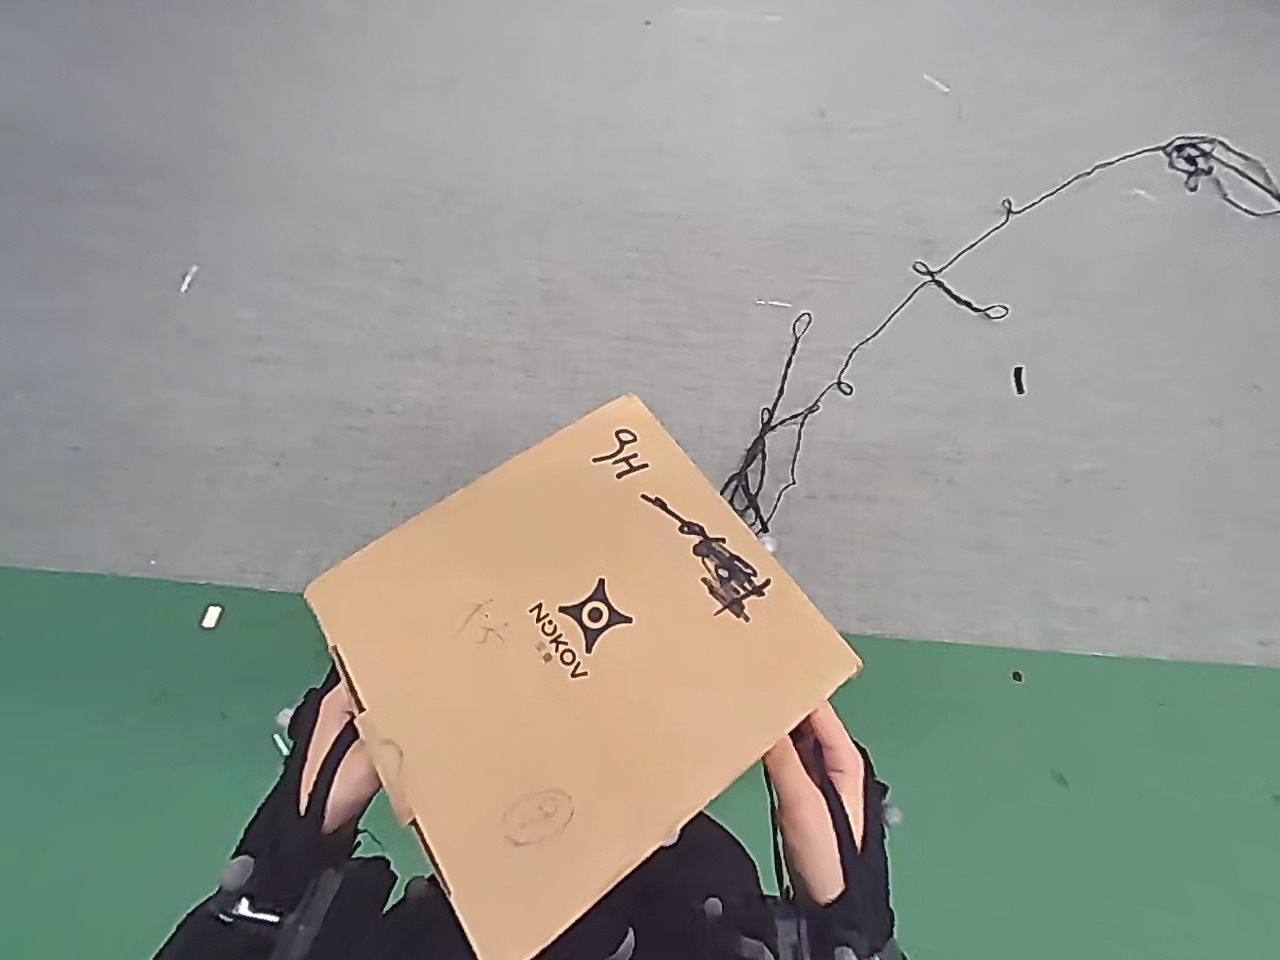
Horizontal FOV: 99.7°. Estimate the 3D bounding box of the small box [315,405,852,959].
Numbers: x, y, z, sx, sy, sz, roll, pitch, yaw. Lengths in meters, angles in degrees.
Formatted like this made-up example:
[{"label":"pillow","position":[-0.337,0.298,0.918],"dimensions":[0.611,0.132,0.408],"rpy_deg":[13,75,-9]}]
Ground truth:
[{"label":"small box","position":[-0.026,0.099,0.299],"dimensions":[0.179,0.176,0.168],"rpy_deg":[-33,69,-14]}]
